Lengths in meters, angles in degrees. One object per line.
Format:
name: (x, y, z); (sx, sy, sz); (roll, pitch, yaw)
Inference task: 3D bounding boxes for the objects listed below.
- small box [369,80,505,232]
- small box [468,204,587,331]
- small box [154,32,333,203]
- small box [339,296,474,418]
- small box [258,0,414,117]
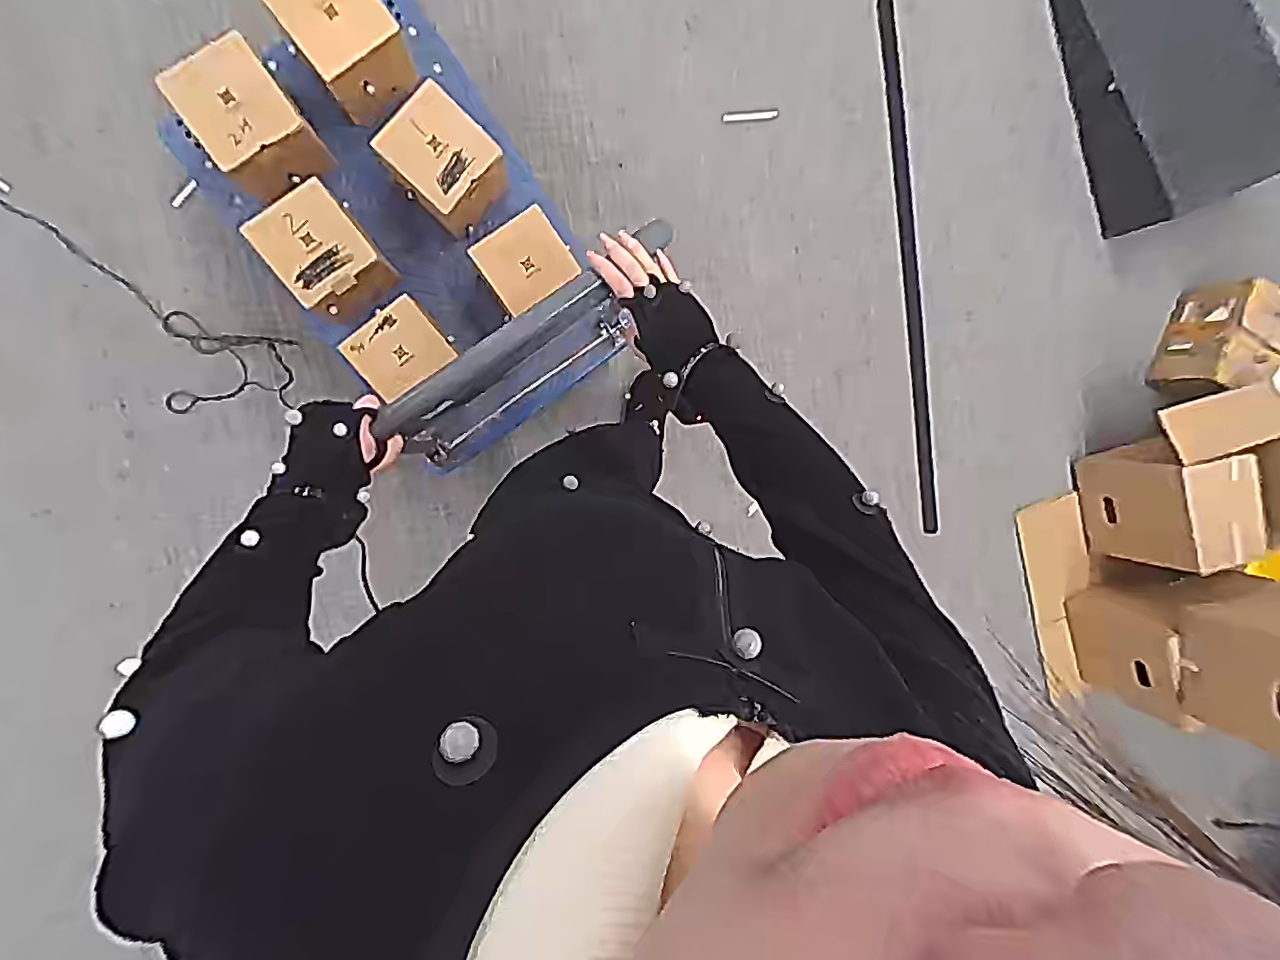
small box: (-0.389, -0.624, 1.075); (0.179, 0.176, 0.168); (41, 89, -12)
small box: (-0.230, -0.429, 1.130); (0.168, 0.176, 0.179); (-36, 101, -5)
small box: (-0.723, -0.661, 1.010); (0.168, 0.176, 0.179); (-35, 103, -4)
small box: (-0.465, -0.246, 1.111); (0.168, 0.176, 0.179); (-40, 102, -4)
small box: (-0.559, -0.829, 1.018); (0.168, 0.176, 0.179); (-40, 102, -3)
